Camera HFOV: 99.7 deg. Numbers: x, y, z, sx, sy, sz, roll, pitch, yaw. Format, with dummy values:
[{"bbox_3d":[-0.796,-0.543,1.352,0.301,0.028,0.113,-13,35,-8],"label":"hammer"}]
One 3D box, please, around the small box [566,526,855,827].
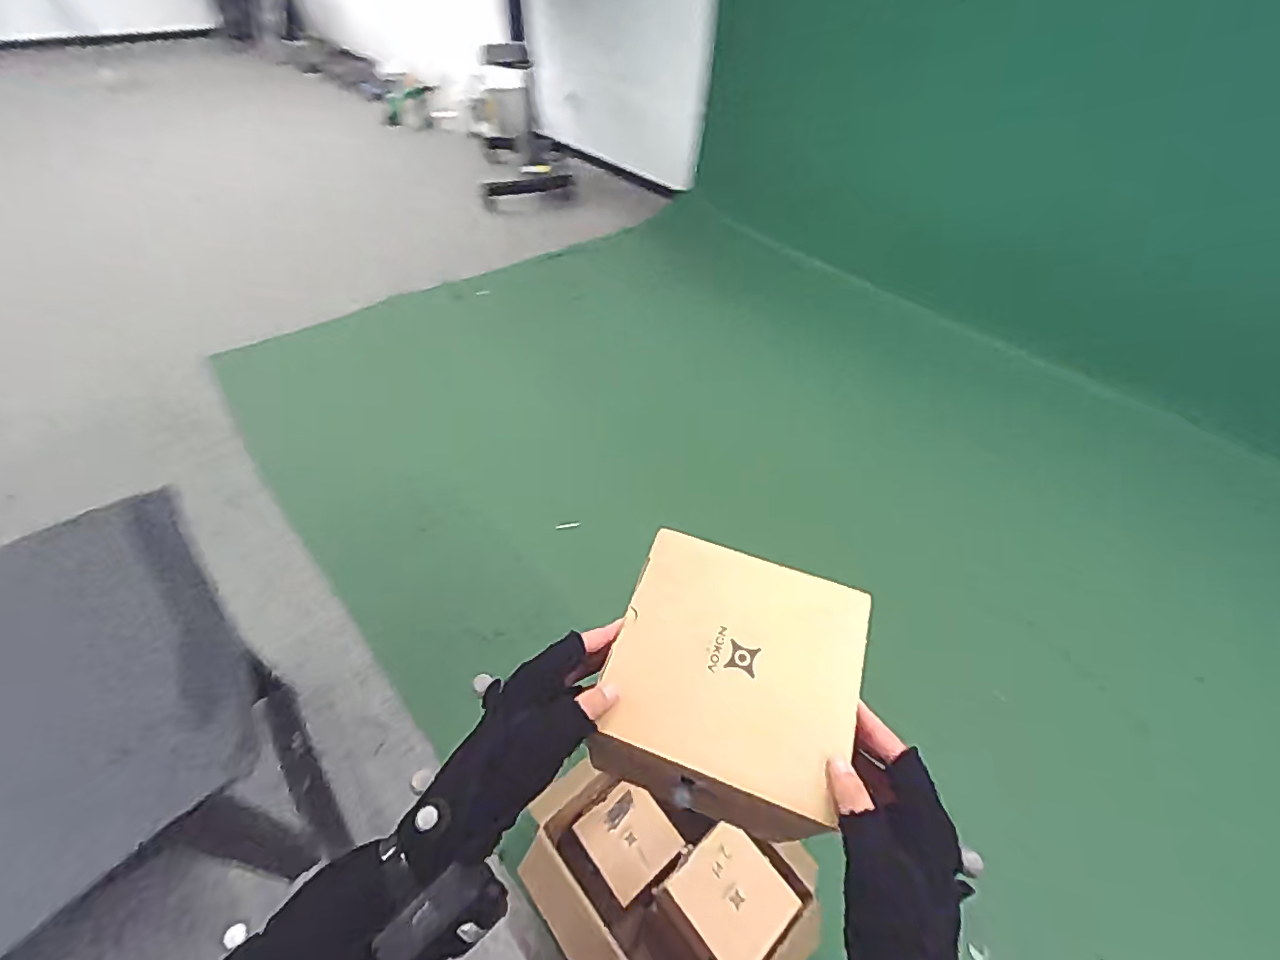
[{"bbox_3d":[0.057,0.168,0.451,0.179,0.176,0.168,15,55,11],"label":"small box"}]
